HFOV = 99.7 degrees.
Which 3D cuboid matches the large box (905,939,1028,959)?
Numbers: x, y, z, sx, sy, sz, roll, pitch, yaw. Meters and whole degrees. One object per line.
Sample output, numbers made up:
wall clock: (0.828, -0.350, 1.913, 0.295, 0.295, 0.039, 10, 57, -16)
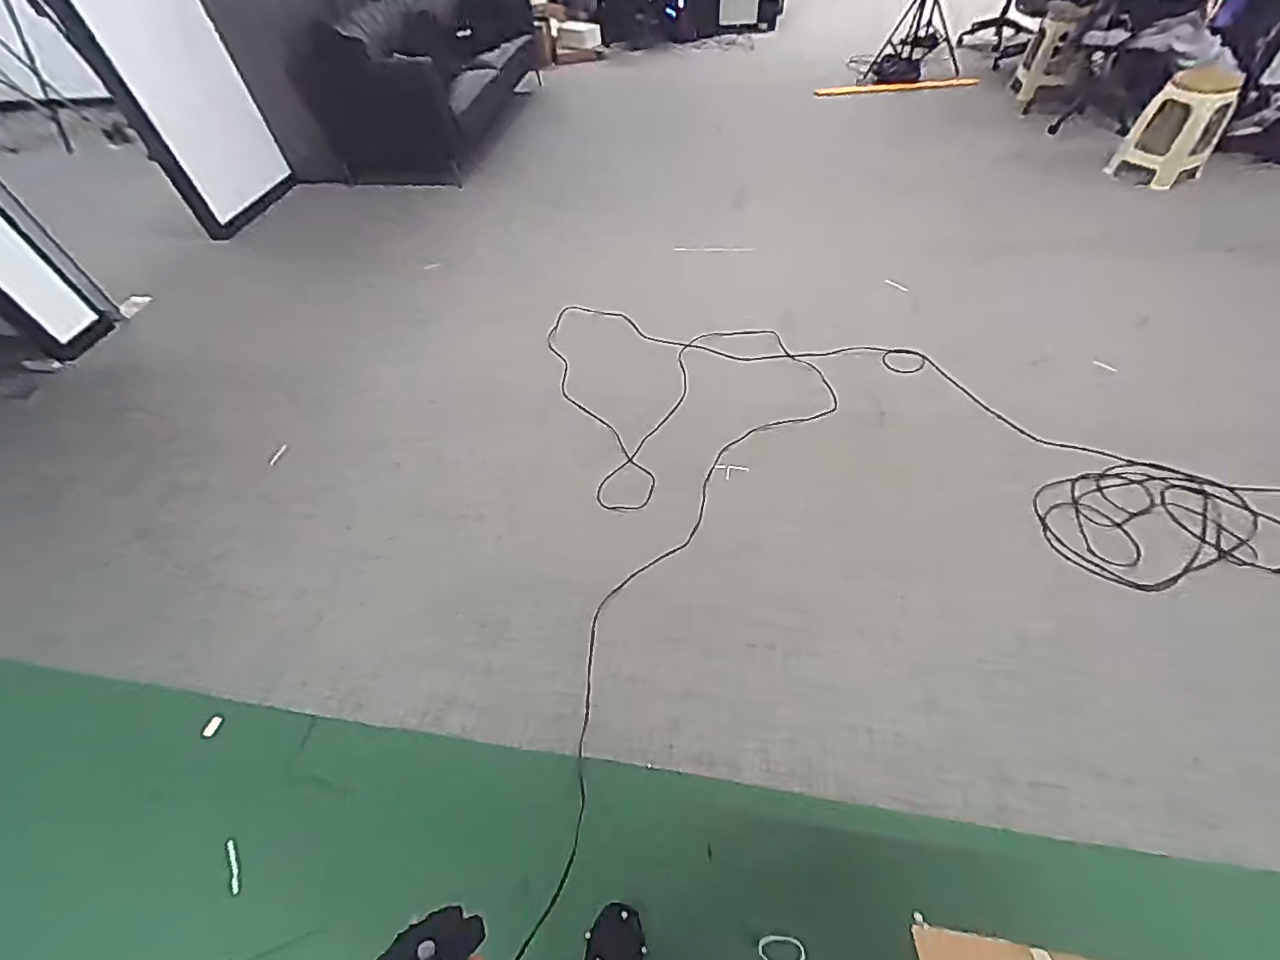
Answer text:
large box: (0.476, 0.798, 0.541, 0.320, 0.408, 0.320, 2, 86, 15)
